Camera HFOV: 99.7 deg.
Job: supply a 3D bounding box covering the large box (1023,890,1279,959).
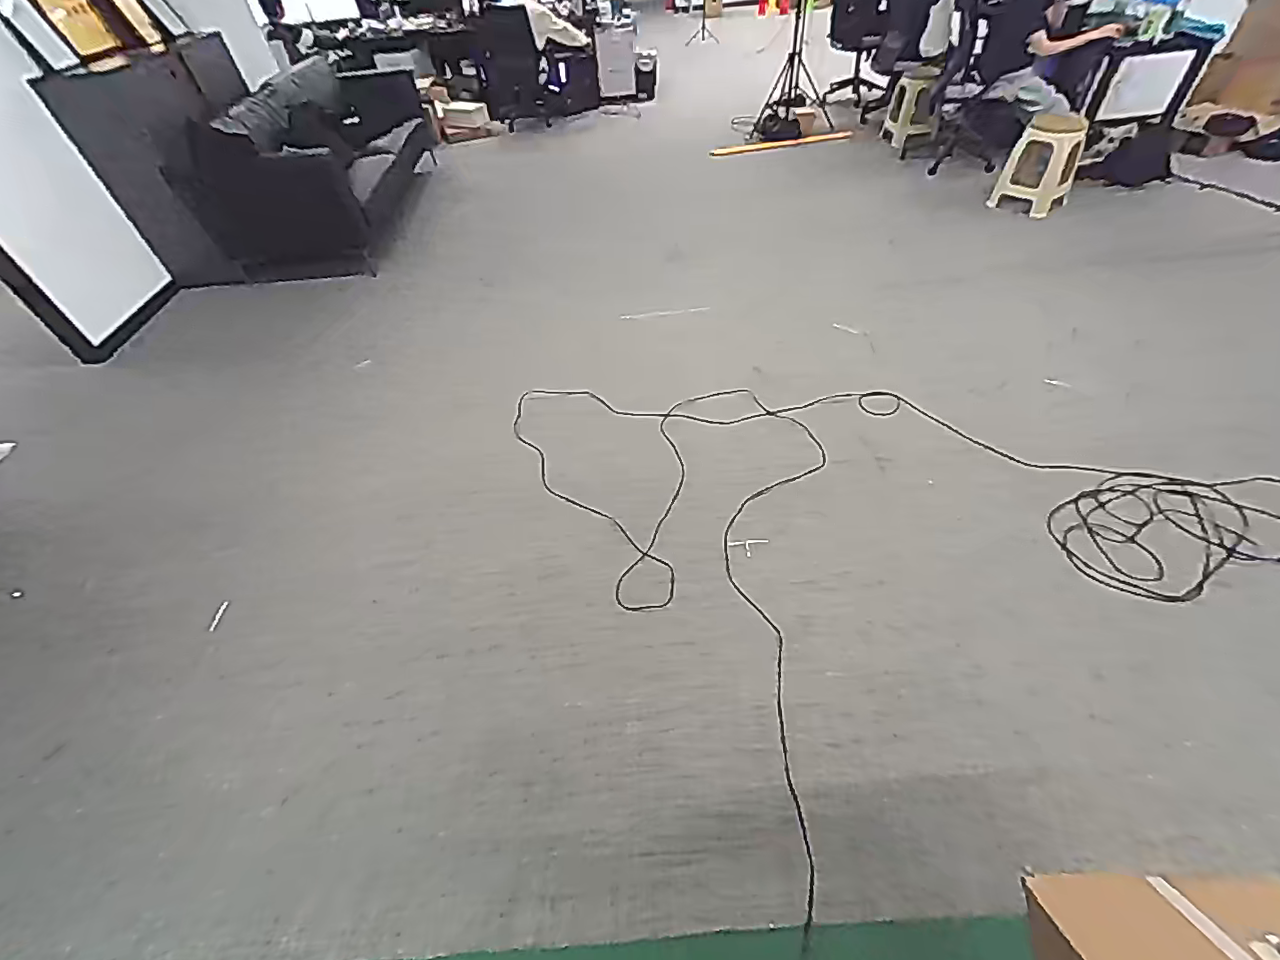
[{"bbox_3d":[0.664,0.701,0.526,0.320,0.408,0.320,-5,86,11],"label":"large box"}]
